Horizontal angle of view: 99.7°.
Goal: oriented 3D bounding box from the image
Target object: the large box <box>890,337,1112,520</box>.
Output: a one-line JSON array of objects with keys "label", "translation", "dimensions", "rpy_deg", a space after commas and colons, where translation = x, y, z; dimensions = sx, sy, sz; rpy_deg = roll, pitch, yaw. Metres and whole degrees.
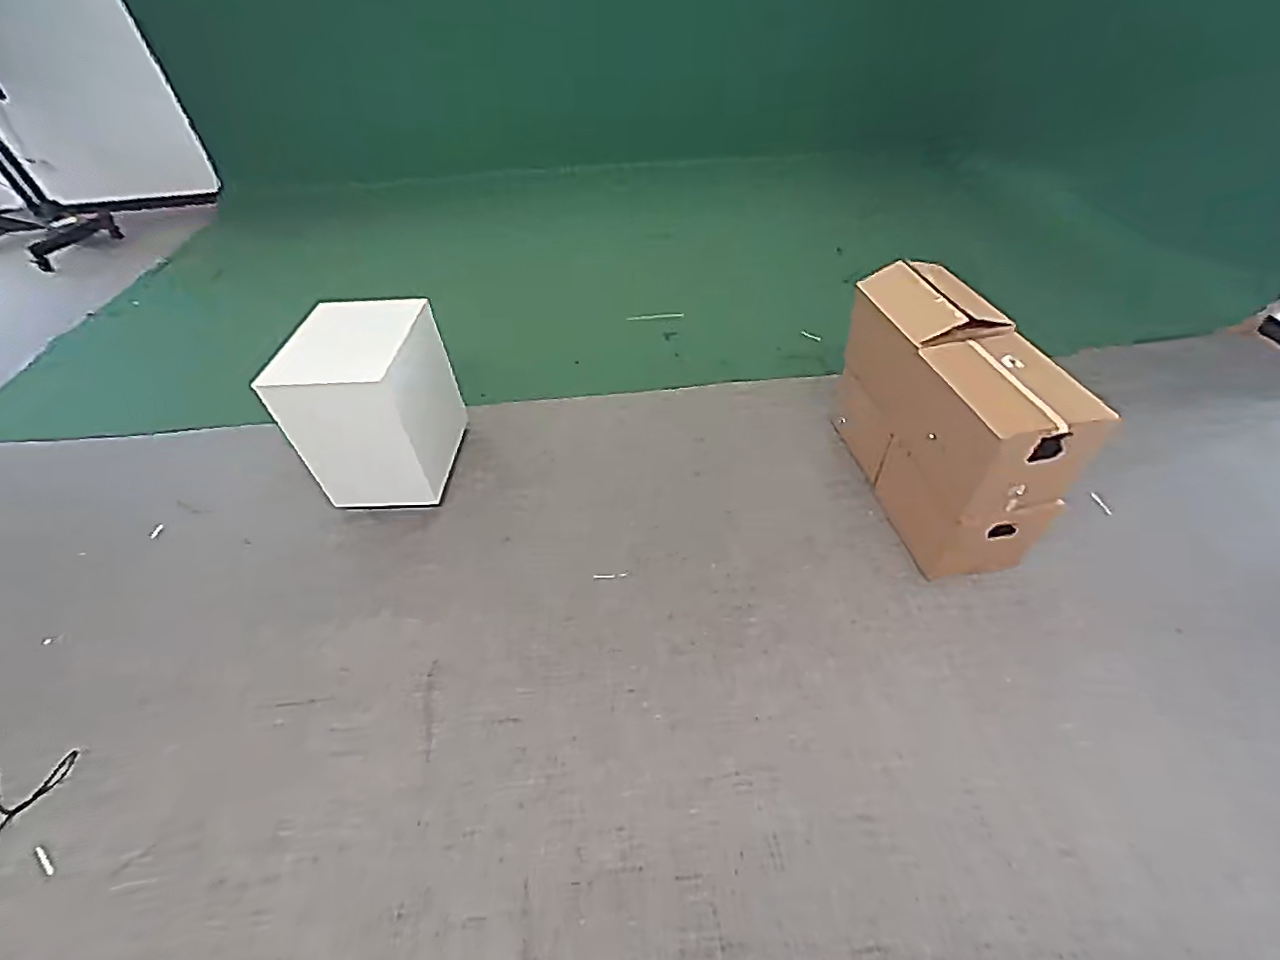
[{"label": "large box", "translation": [0.987, -0.152, 1.551], "dimensions": [0.320, 0.320, 0.408], "rpy_deg": [-10, 45, -3]}]
